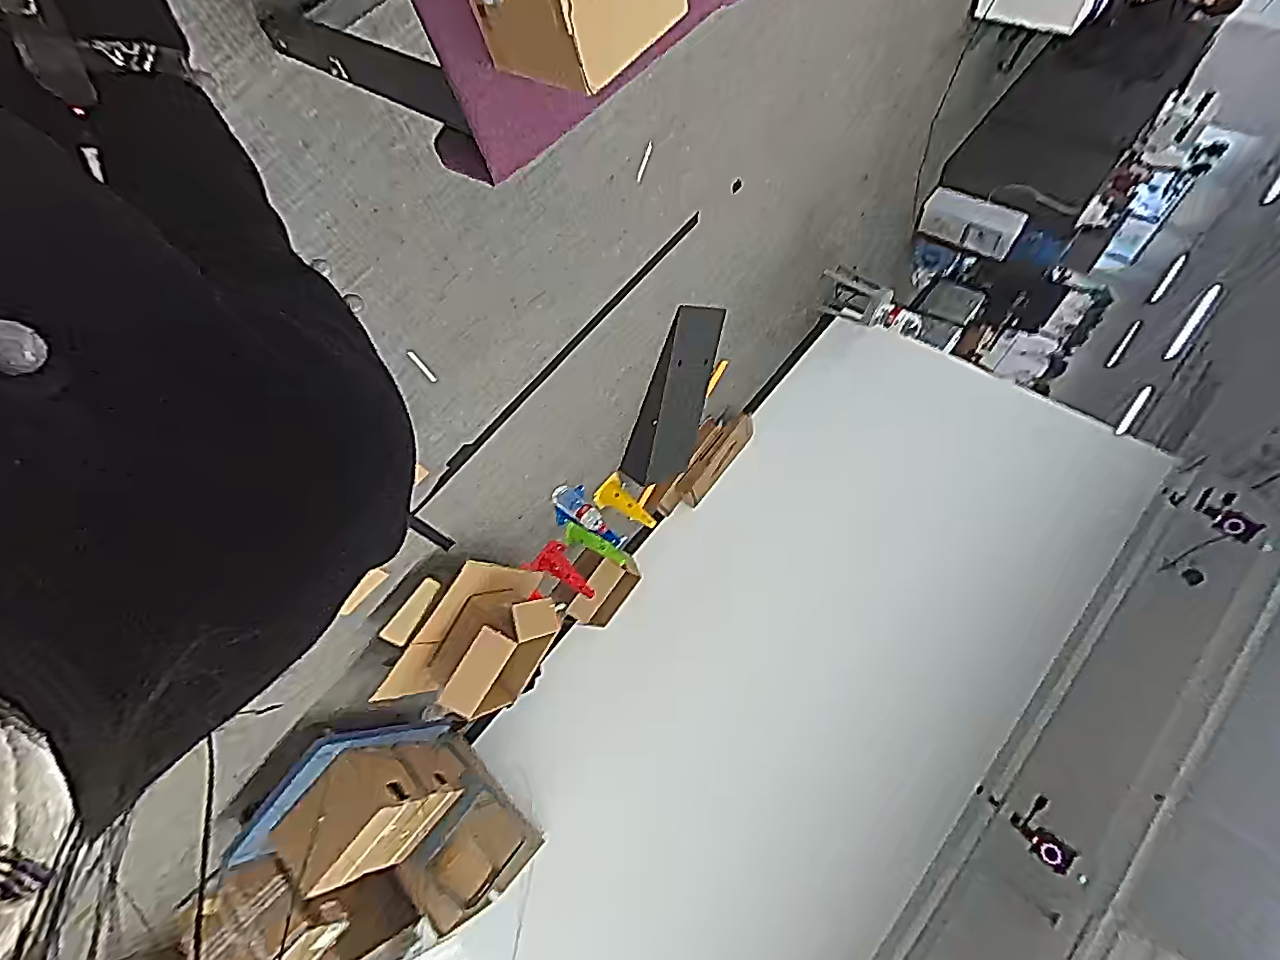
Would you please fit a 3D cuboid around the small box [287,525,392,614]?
[{"bbox_3d":[-0.873,0.256,1.572,0.168,0.176,0.179,-47,155,-15],"label":"small box"}]

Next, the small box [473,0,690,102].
[{"bbox_3d":[-0.071,-0.554,0.576,0.179,0.176,0.168,-49,154,-12],"label":"small box"}]
